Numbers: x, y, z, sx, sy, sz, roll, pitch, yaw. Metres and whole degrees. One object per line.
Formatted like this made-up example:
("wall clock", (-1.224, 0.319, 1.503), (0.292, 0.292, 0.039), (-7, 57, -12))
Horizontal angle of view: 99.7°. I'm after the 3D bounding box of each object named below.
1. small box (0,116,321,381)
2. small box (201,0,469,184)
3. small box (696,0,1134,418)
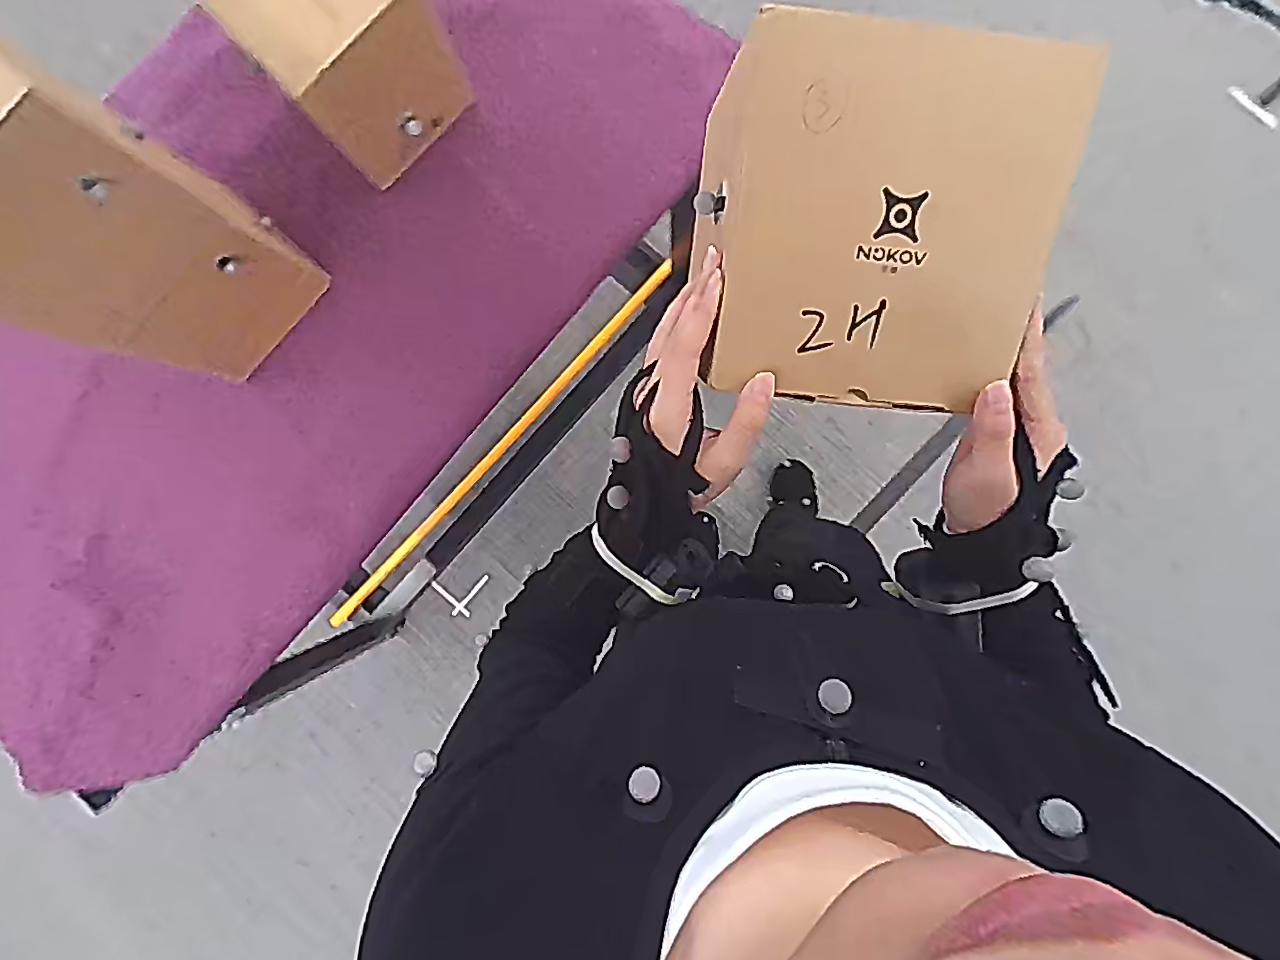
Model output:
("small box", (-0.508, -0.235, 0.601), (0.168, 0.176, 0.179), (41, 90, 3))
("small box", (-0.326, -0.477, 0.597), (0.168, 0.176, 0.179), (-45, 88, 1))
("small box", (0.135, -0.149, 0.344), (0.168, 0.176, 0.179), (7, 108, -3))
